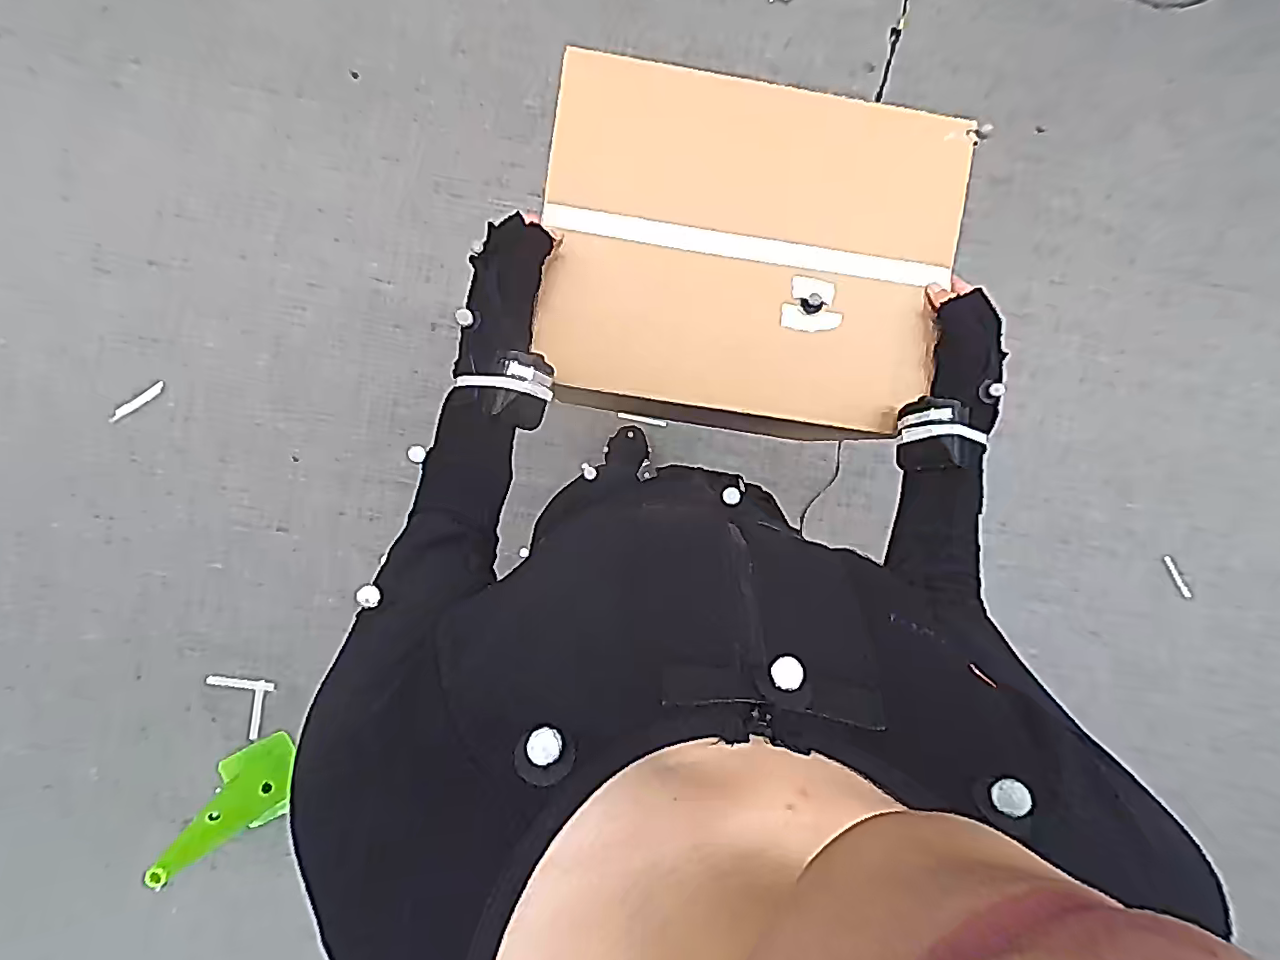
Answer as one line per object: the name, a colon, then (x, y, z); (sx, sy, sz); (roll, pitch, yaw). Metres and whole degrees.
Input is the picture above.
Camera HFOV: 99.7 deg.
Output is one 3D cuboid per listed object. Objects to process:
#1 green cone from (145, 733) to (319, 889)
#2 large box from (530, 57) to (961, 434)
green cone: (-0.975, 0.795, 1.263); (0.202, 0.368, 0.200); (-27, 91, -1)
large box: (0.096, -0.238, 0.682); (0.408, 0.320, 0.320); (8, 94, -4)
